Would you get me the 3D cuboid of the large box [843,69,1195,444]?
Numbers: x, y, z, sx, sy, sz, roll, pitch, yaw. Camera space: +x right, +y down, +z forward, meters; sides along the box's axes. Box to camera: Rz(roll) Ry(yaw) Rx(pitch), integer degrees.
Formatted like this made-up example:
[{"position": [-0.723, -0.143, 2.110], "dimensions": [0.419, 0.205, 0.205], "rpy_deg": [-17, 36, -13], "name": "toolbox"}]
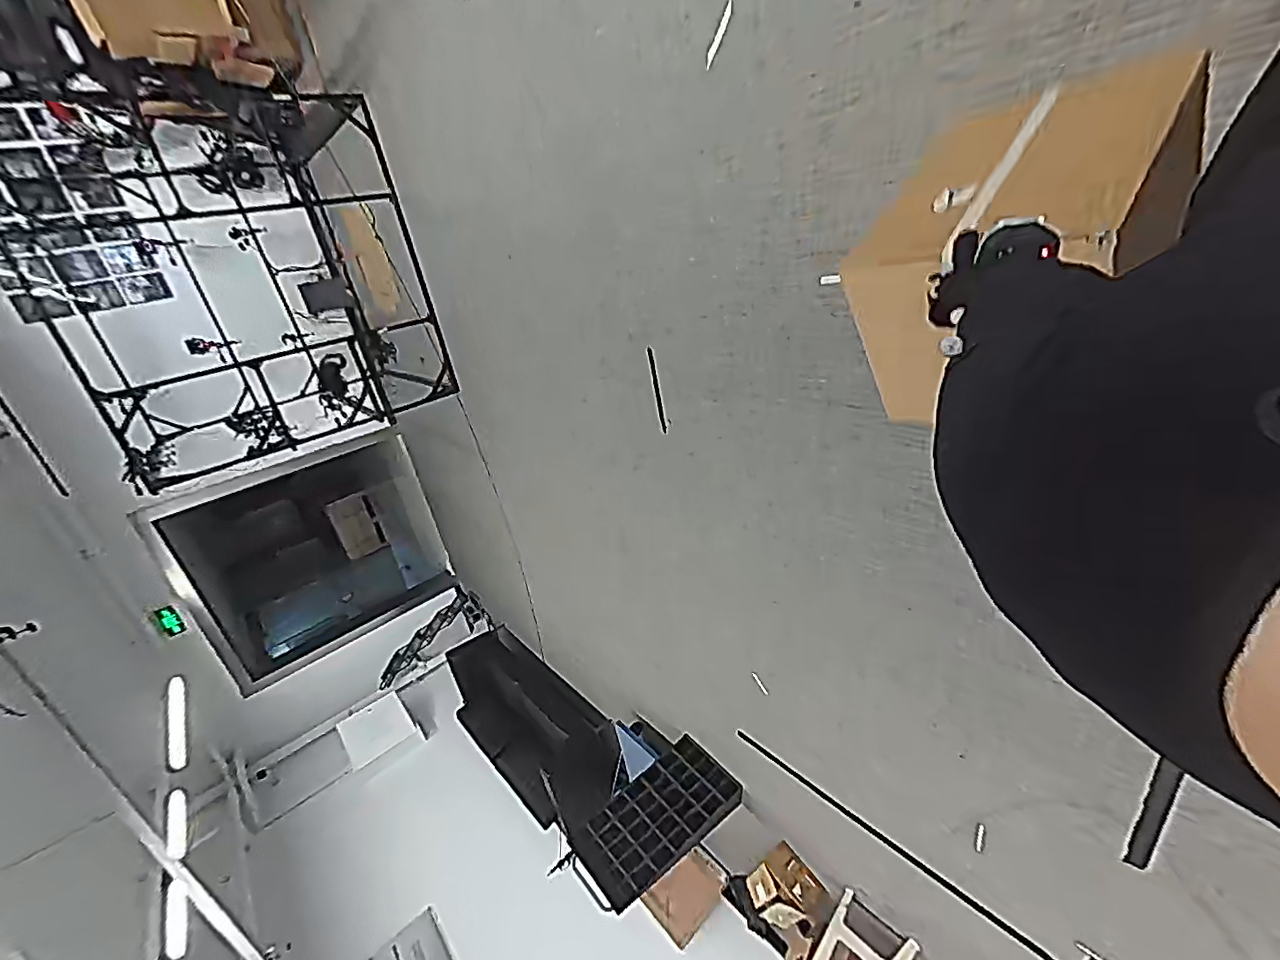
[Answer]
[{"position": [0.582, -0.314, 0.829], "dimensions": [0.320, 0.408, 0.320], "rpy_deg": [14, 149, 50], "name": "large box"}]
